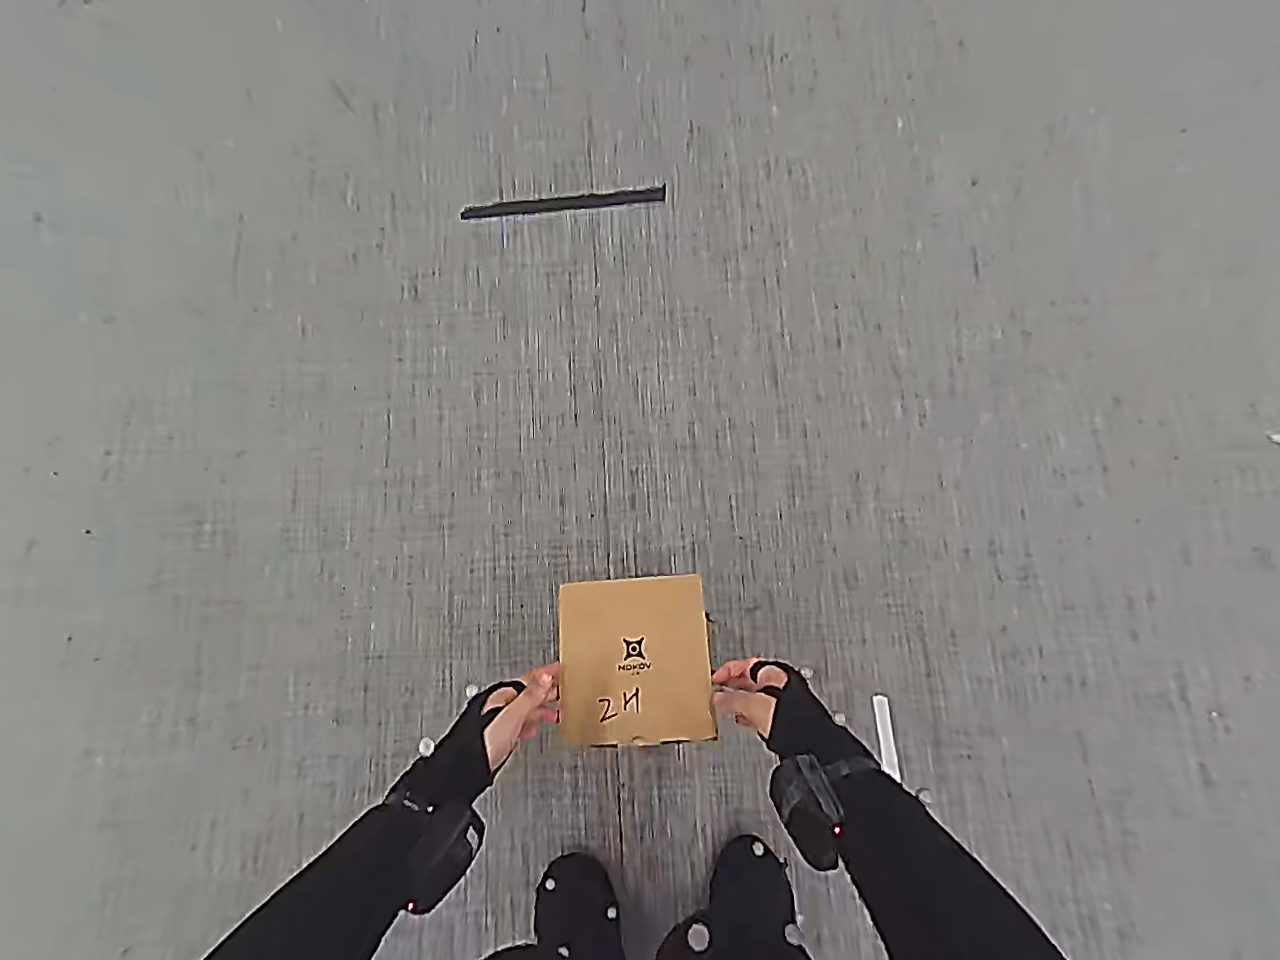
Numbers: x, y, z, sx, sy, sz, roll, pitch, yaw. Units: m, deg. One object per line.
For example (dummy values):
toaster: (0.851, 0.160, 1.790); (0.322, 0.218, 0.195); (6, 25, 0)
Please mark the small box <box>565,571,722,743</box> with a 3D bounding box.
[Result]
small box: (0.006, 0.218, 0.663); (0.168, 0.176, 0.179); (-4, 69, 4)
